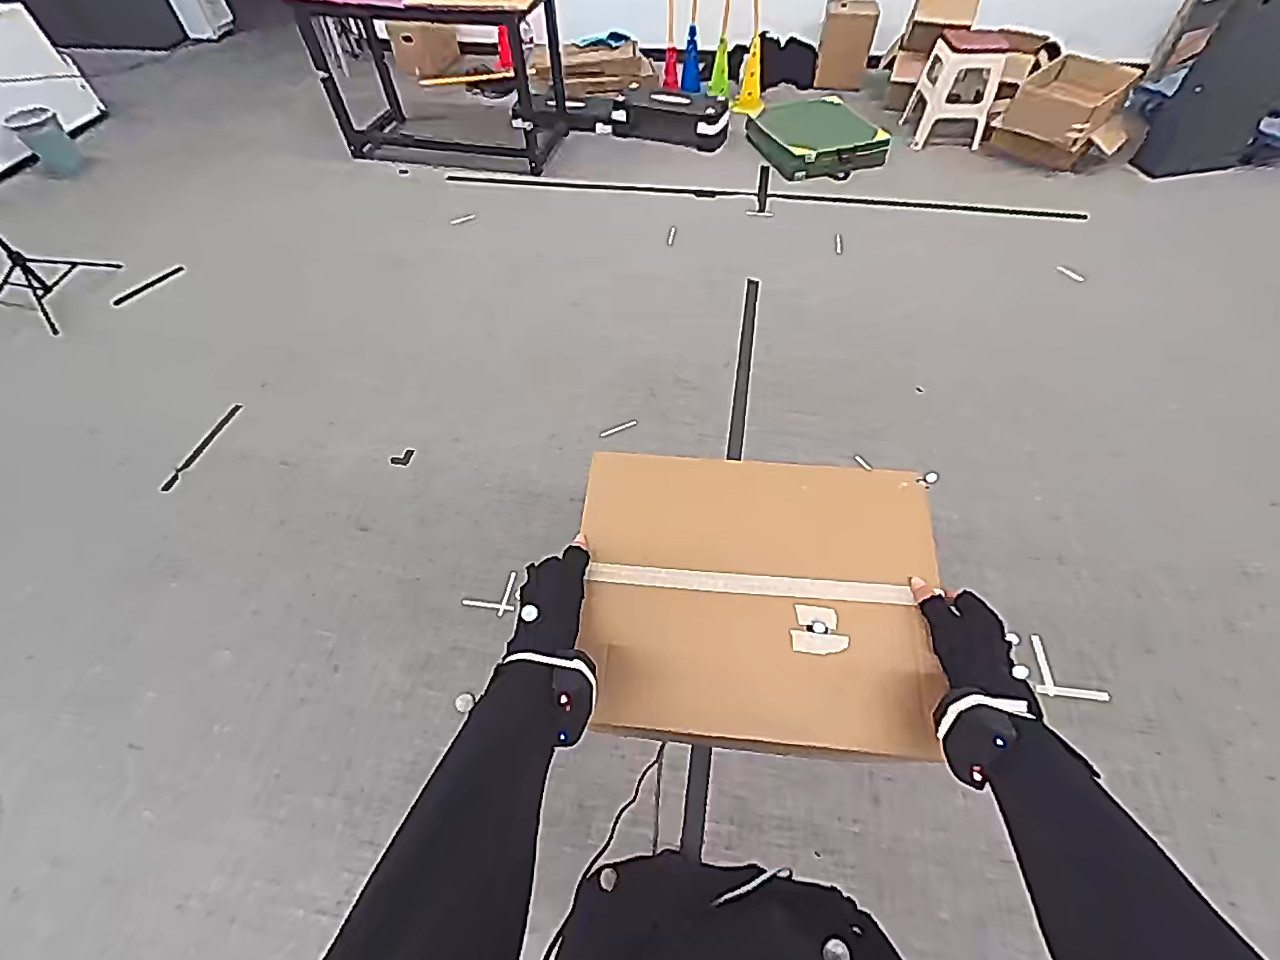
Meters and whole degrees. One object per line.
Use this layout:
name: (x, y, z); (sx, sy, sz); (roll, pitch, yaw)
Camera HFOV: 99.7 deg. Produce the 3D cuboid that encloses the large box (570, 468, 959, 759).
large box: (0.138, 0.198, 0.750); (0.408, 0.320, 0.320); (4, 63, 4)
